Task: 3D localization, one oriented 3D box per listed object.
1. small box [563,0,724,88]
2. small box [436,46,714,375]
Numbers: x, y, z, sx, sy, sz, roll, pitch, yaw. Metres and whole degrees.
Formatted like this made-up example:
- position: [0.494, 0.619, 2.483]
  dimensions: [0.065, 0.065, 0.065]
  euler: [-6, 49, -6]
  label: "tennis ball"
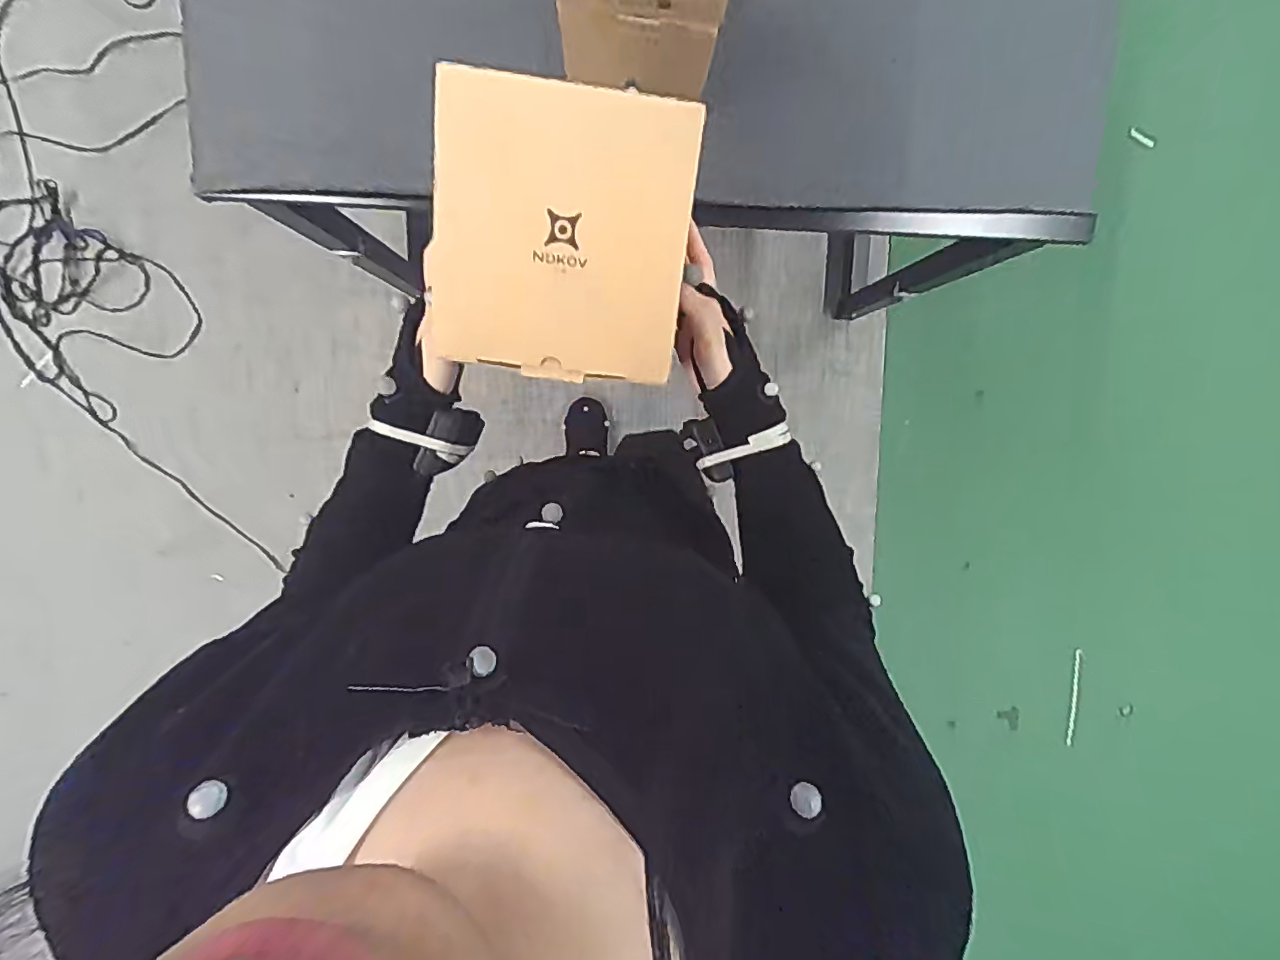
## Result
- position: [0.005, -0.560, 0.608]
  dimensions: [0.168, 0.176, 0.179]
  euler: [5, 96, -4]
  label: "small box"
- position: [-0.049, -0.186, 0.422]
  dimensions: [0.168, 0.176, 0.179]
  euler: [6, 106, -4]
  label: "small box"
